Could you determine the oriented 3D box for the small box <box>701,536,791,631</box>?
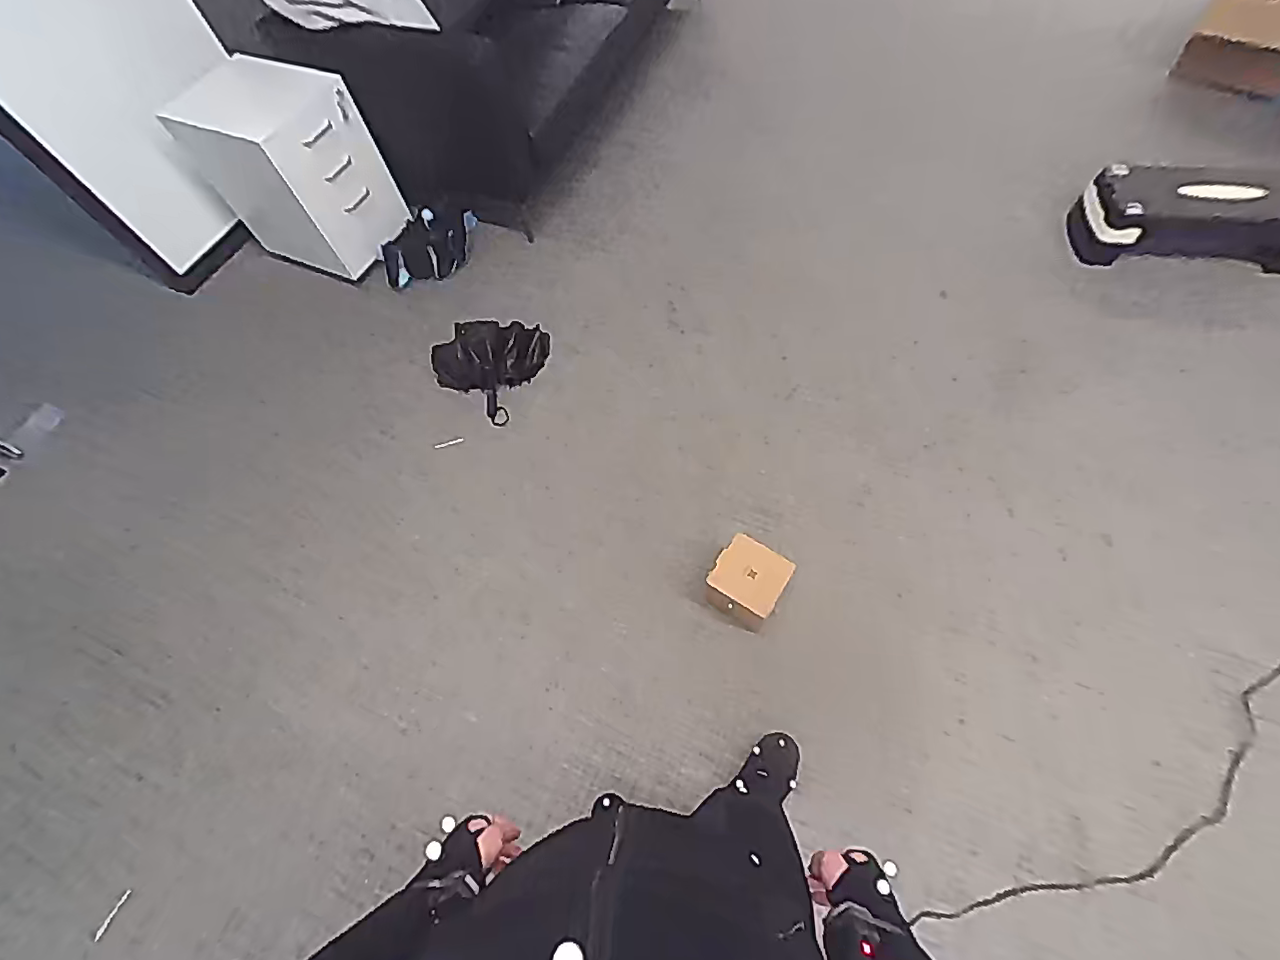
[{"bbox_3d":[0.278,0.284,1.455,0.179,0.176,0.168,31,70,18],"label":"small box"}]
